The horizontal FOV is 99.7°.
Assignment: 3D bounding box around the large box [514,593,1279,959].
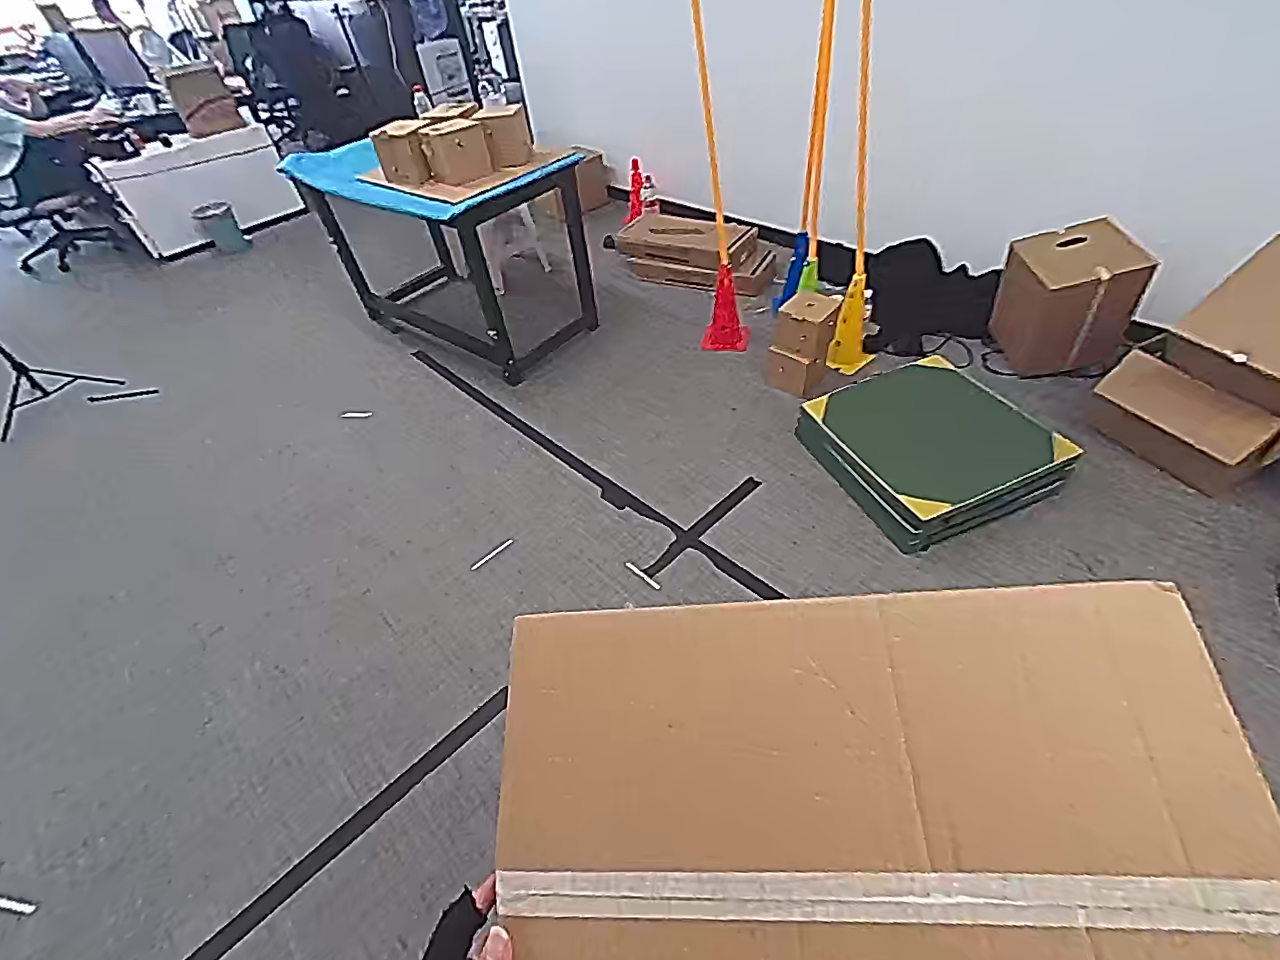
[{"bbox_3d":[0.146,0.288,0.428,0.408,0.320,0.320,-6,67,8],"label":"large box"}]
